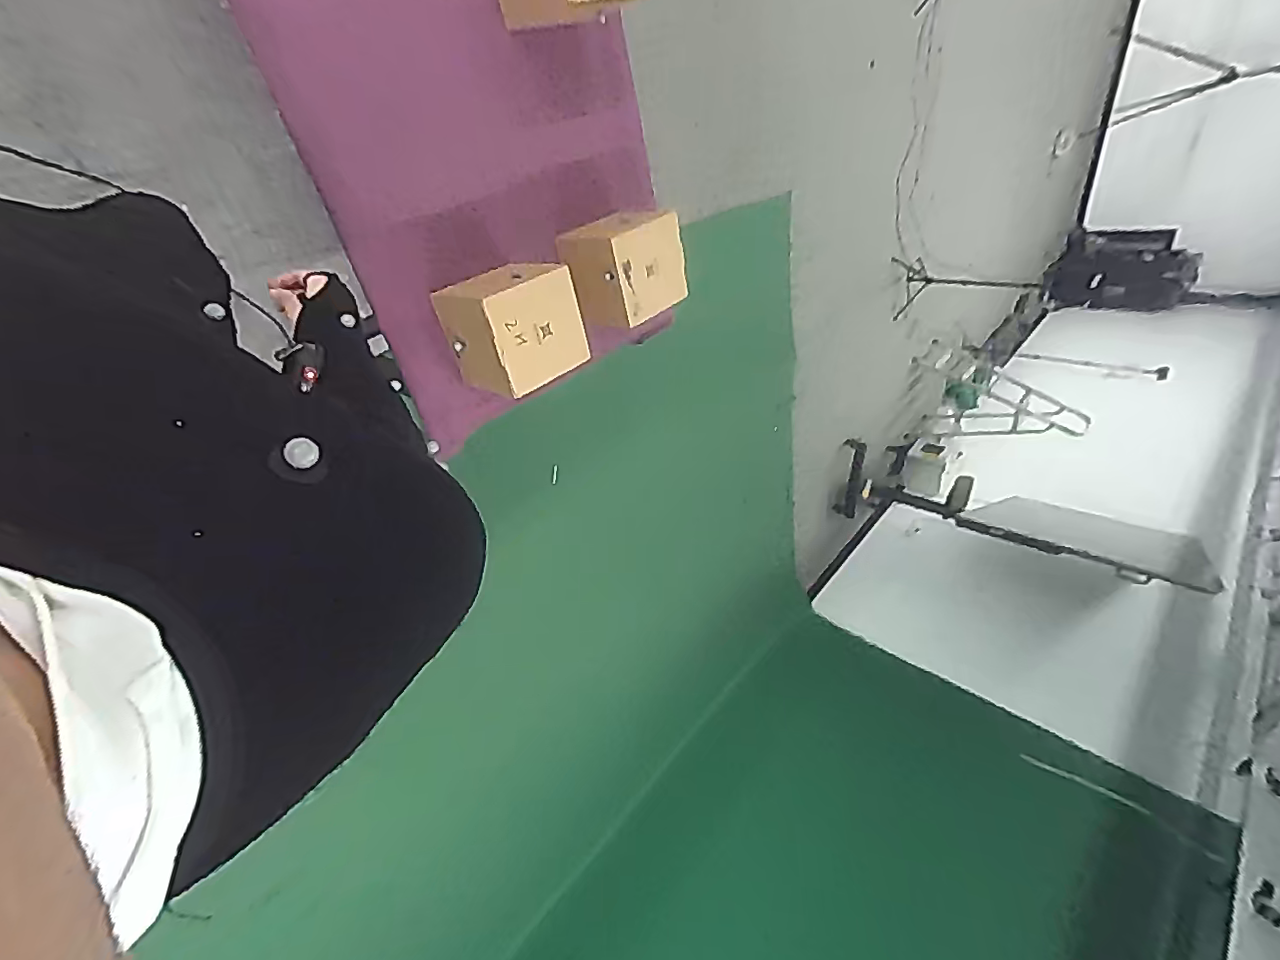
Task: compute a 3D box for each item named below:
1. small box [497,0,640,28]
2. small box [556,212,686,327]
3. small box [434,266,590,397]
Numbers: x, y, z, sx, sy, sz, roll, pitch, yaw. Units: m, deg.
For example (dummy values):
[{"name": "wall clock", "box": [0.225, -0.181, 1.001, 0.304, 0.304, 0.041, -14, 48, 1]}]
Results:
[{"name": "small box", "box": [-0.114, -0.808, 0.812, 0.179, 0.176, 0.168, -36, 130, -31]}, {"name": "small box", "box": [-0.035, -0.422, 1.072, 0.179, 0.176, 0.168, -38, 131, -31]}, {"name": "small box", "box": [-0.219, -0.265, 0.935, 0.179, 0.176, 0.168, -37, 130, -32]}]
